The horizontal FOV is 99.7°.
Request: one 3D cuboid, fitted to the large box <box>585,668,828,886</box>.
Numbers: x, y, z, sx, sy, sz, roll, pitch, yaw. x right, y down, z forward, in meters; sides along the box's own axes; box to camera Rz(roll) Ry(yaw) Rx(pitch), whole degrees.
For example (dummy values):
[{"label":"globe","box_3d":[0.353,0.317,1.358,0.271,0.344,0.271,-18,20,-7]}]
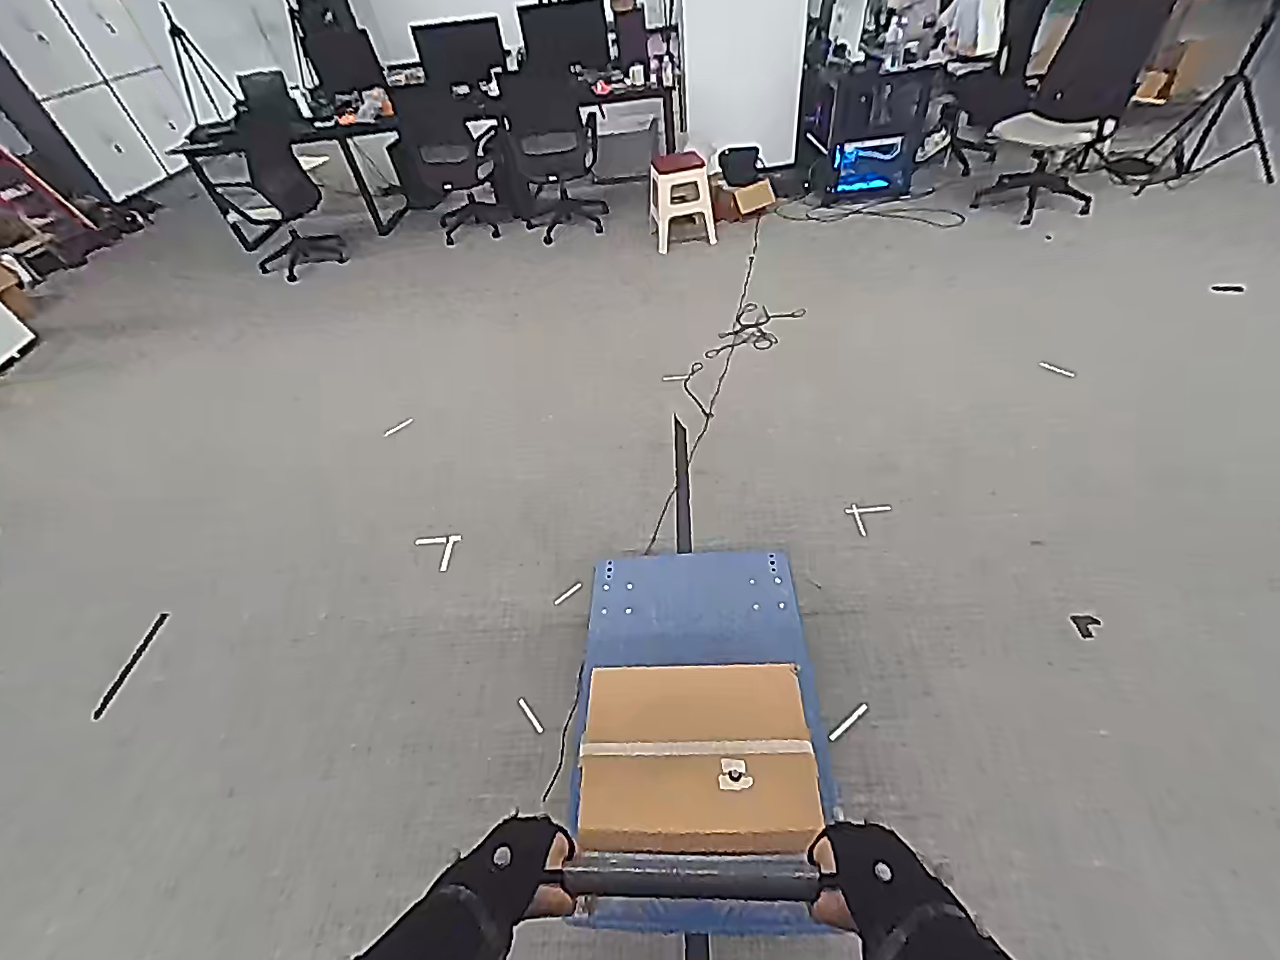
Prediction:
[{"label":"large box","box_3d":[0.119,0.597,1.085,0.408,0.320,0.320,-3,46,5]}]
